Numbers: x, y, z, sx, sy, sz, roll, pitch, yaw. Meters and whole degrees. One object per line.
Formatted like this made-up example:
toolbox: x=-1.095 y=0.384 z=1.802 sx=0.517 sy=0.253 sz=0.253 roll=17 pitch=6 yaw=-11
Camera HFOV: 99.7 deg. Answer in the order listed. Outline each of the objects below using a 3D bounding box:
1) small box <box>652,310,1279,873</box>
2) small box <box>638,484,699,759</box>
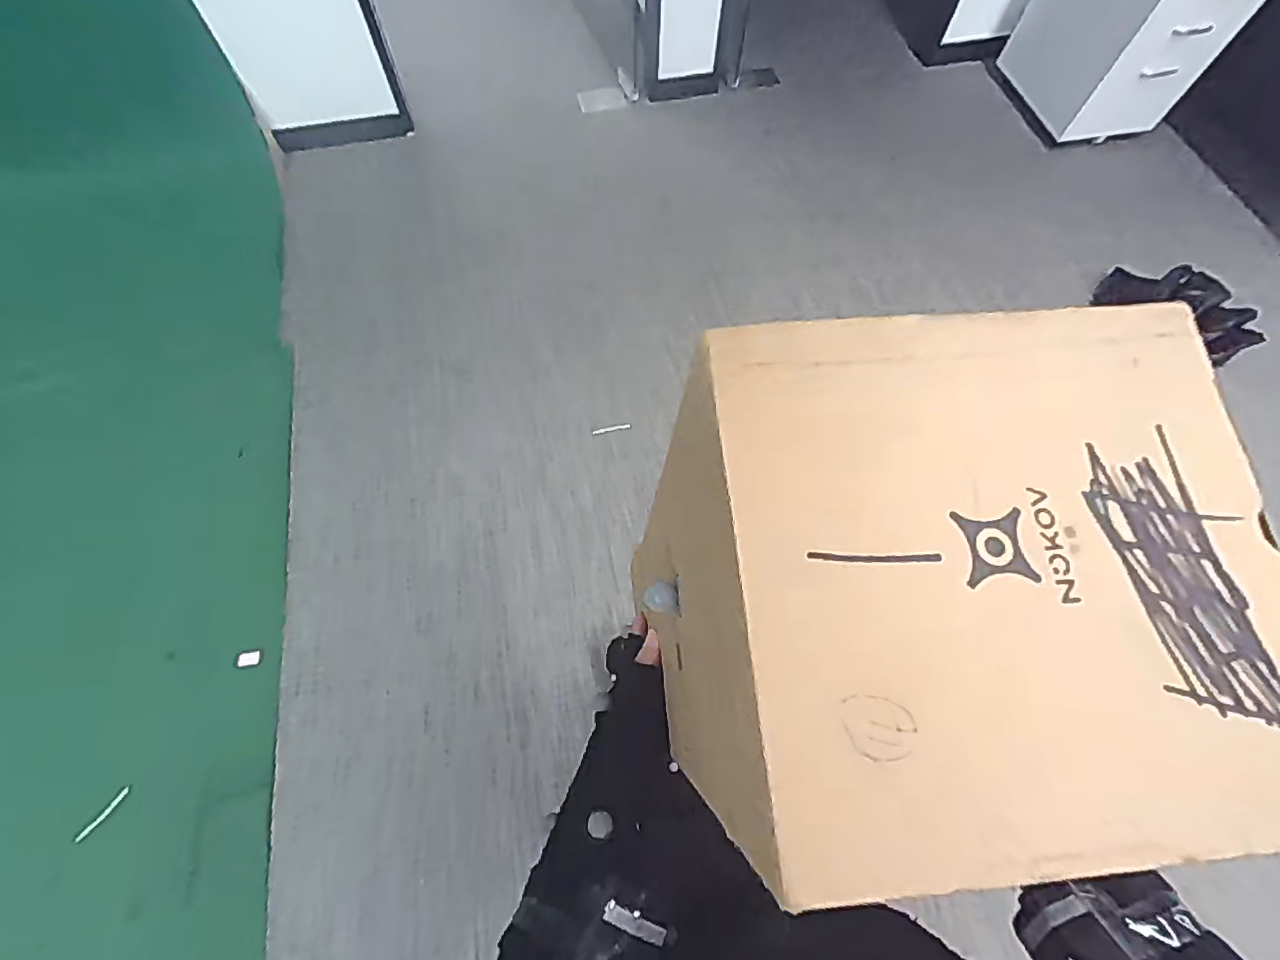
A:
small box: x=0.109 y=0.044 z=0.252 sx=0.179 sy=0.176 sz=0.168 roll=-6 pitch=72 yaw=-7
small box: x=0.098 y=0.098 z=0.406 sx=0.179 sy=0.176 sz=0.168 roll=-5 pitch=70 yaw=-6
